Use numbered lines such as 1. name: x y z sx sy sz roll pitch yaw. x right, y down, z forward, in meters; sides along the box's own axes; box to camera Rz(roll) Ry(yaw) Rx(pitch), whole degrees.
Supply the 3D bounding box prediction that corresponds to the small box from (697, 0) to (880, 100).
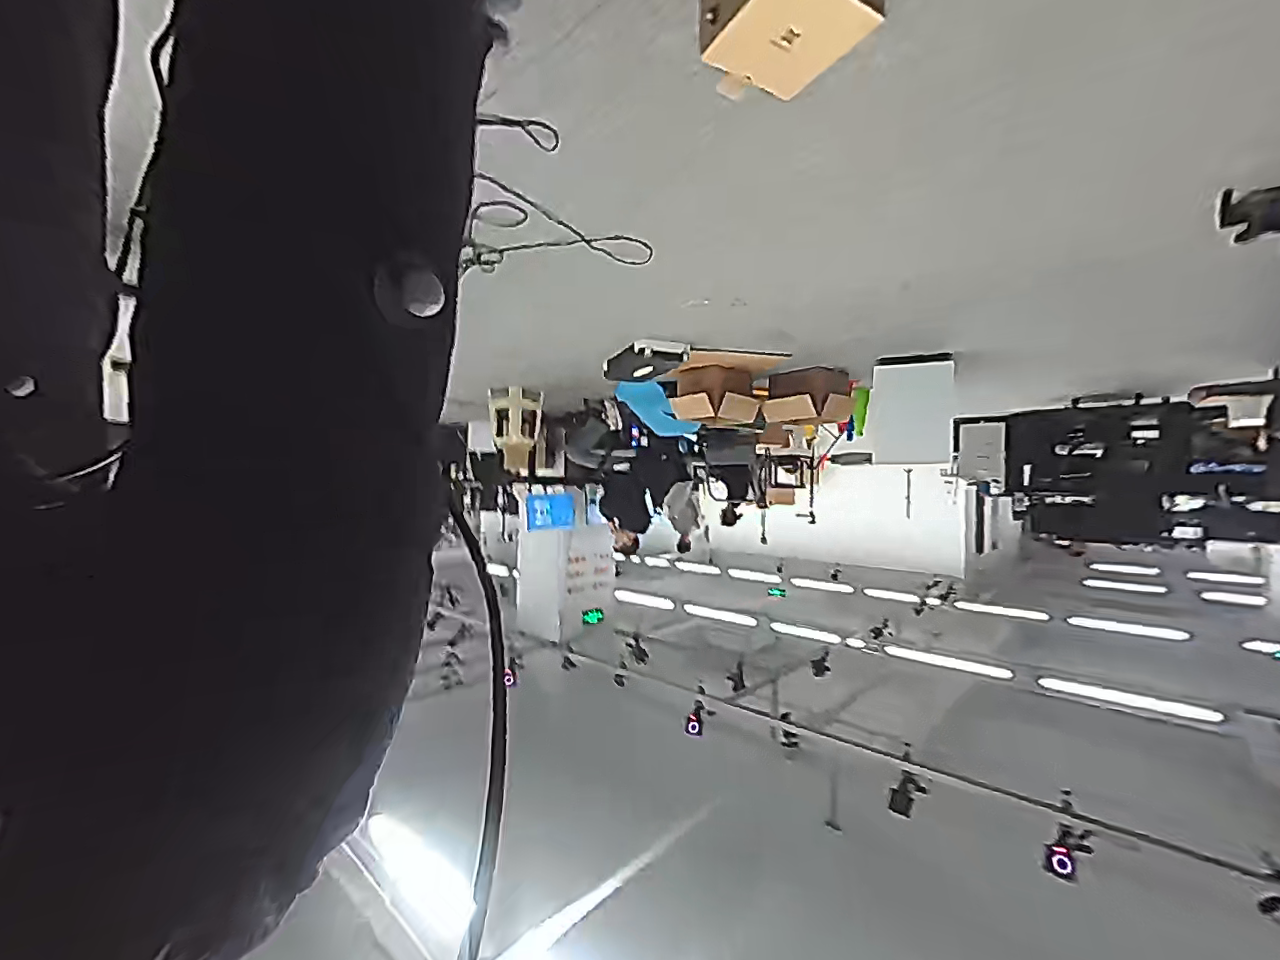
1. small box: 0.187 -0.657 0.707 0.168 0.176 0.179 1 -179 -29
